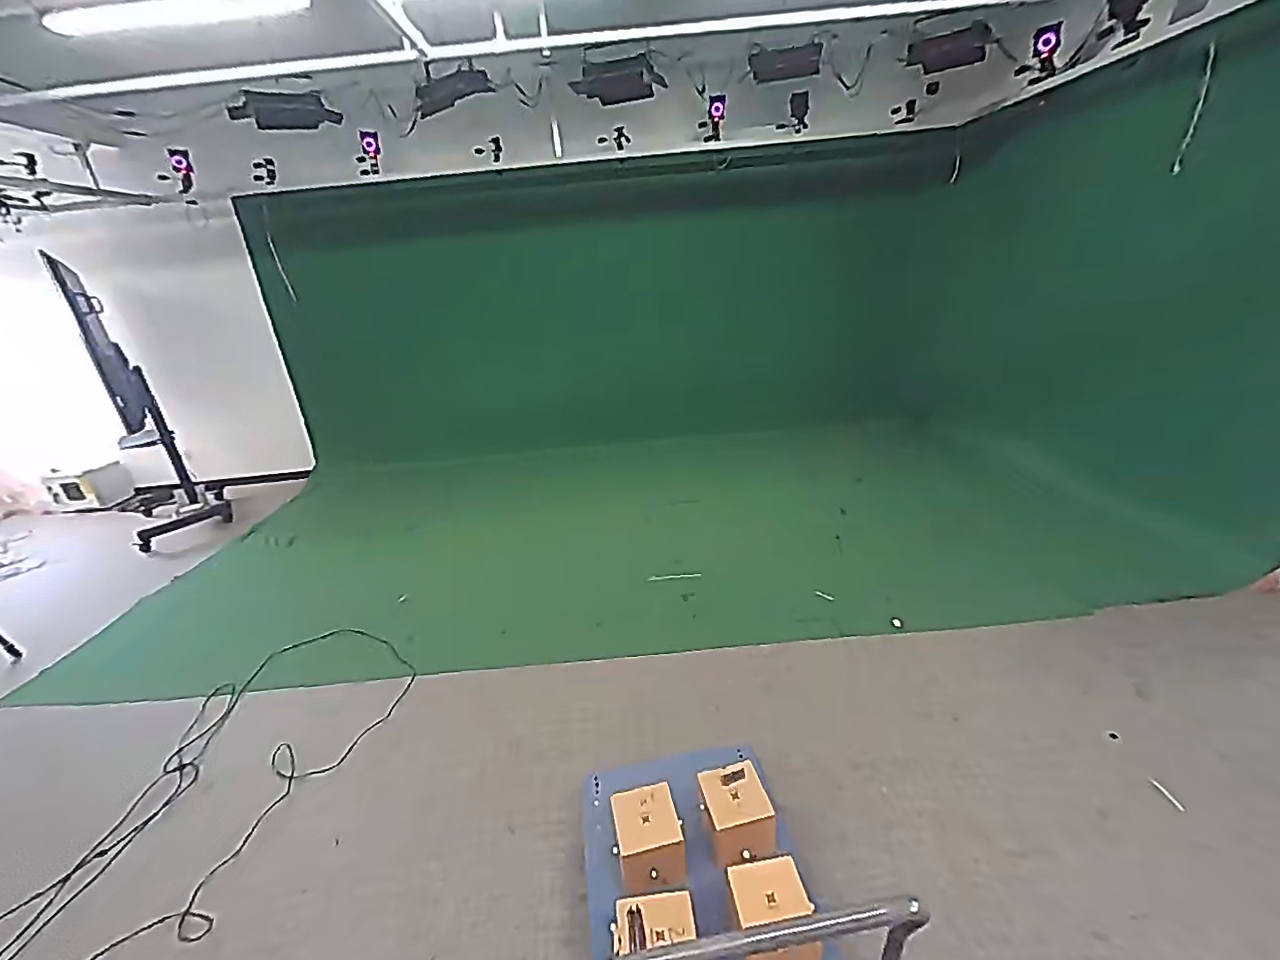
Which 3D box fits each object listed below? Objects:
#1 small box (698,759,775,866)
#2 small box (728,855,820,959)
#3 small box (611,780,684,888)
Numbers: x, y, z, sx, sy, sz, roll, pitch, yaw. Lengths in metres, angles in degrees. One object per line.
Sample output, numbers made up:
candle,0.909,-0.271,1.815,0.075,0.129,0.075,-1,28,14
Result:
small box,0.265,0.927,1.511,0.168,0.176,0.179,-10,24,-9
small box,0.304,1.029,1.264,0.168,0.176,0.179,-7,23,-5
small box,0.019,0.966,1.470,0.168,0.176,0.179,-8,23,-9
